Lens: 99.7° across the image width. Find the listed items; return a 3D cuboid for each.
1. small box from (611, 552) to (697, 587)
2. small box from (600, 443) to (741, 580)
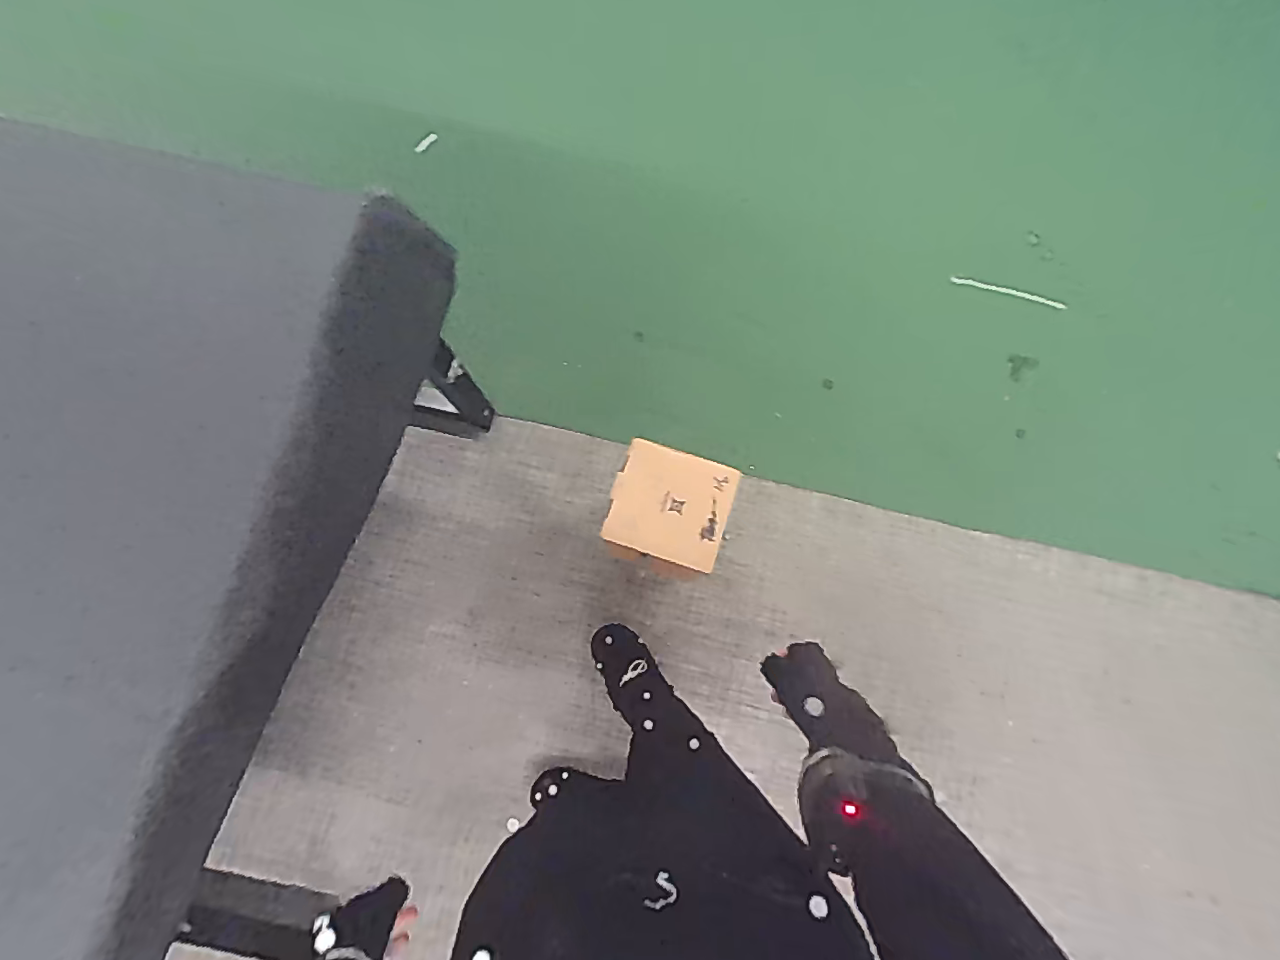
[{"bbox_3d":[0.049,0.097,1.046,0.168,0.176,0.179,20,78,4],"label":"small box"},{"bbox_3d":[0.048,0.061,0.887,0.179,0.176,0.168,18,78,4],"label":"small box"}]
